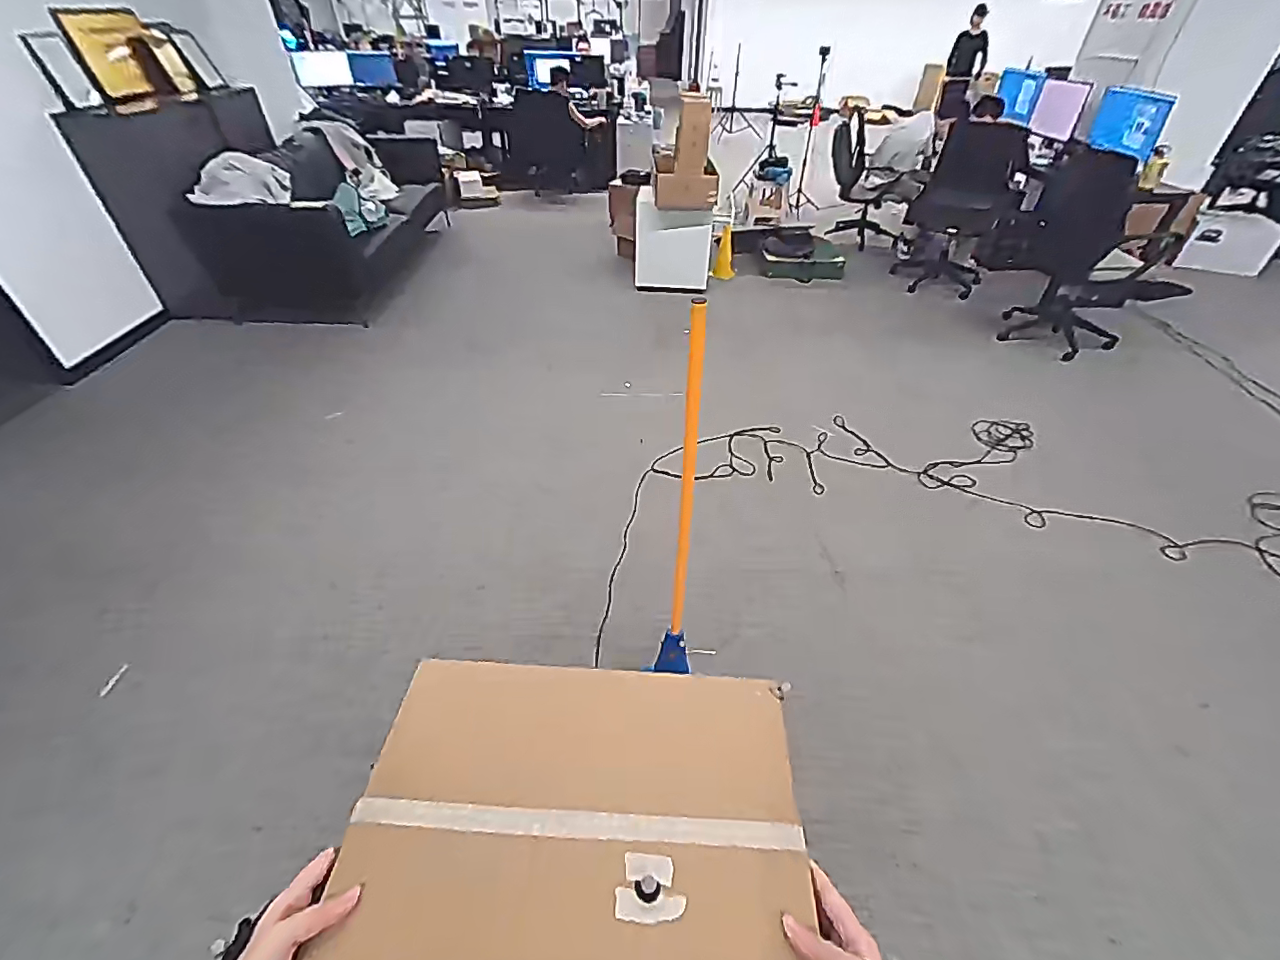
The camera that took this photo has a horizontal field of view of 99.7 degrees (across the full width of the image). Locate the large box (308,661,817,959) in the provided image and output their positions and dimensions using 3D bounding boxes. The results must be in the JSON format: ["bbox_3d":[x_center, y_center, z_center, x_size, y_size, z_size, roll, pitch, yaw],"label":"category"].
[{"bbox_3d":[-0.061,0.428,0.591,0.408,0.320,0.320,3,39,1],"label":"large box"}]
